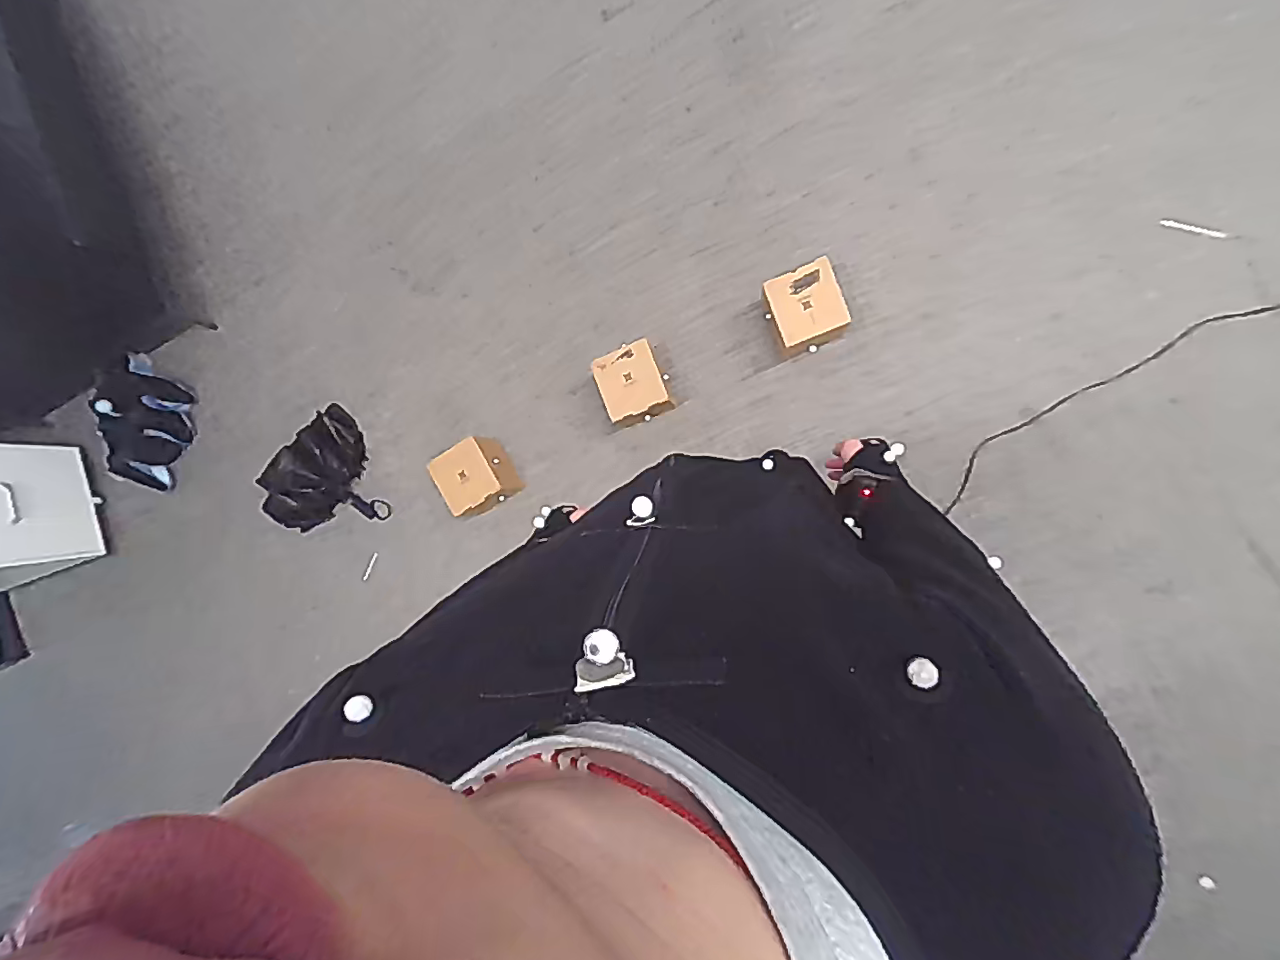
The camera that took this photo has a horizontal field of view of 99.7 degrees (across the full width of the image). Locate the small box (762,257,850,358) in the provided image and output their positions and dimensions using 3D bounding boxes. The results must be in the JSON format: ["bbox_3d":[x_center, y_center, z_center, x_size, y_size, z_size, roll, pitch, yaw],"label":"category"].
[{"bbox_3d":[0.422,-0.439,1.404,0.168,0.176,0.179,-21,88,12],"label":"small box"}]

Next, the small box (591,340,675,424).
[{"bbox_3d":[-0.011,-0.262,1.496,0.168,0.176,0.179,-21,87,11],"label":"small box"}]
